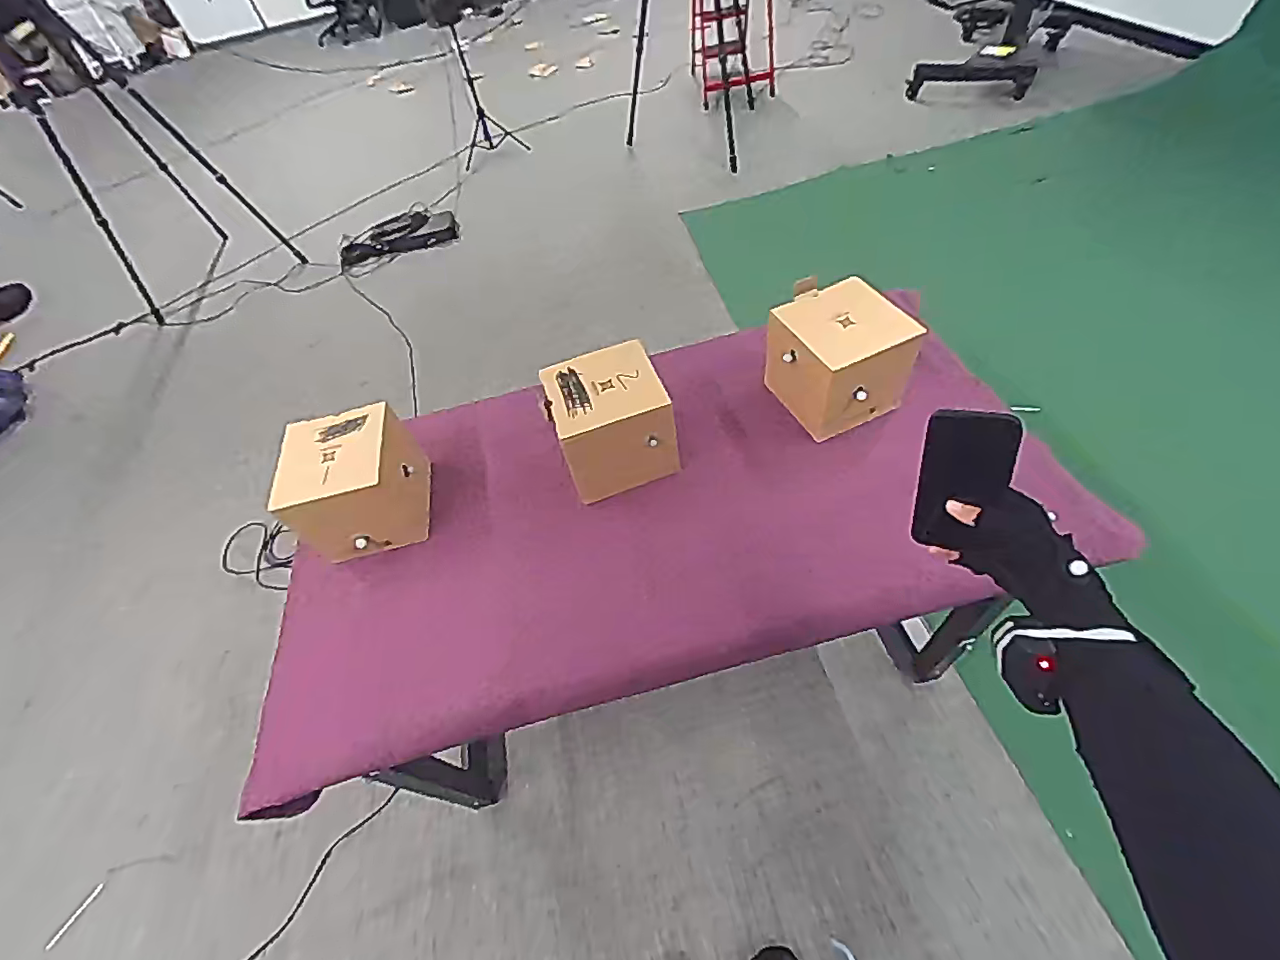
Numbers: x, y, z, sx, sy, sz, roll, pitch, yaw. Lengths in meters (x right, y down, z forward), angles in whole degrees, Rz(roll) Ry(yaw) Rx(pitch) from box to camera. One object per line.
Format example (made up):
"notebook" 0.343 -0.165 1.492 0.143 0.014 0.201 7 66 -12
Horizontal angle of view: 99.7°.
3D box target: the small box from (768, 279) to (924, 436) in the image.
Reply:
"small box" 0.329 -0.196 0.903 0.168 0.176 0.179 -23 53 -7

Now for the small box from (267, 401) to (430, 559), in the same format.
"small box" -0.460 0.003 0.885 0.168 0.176 0.179 -14 54 -1
